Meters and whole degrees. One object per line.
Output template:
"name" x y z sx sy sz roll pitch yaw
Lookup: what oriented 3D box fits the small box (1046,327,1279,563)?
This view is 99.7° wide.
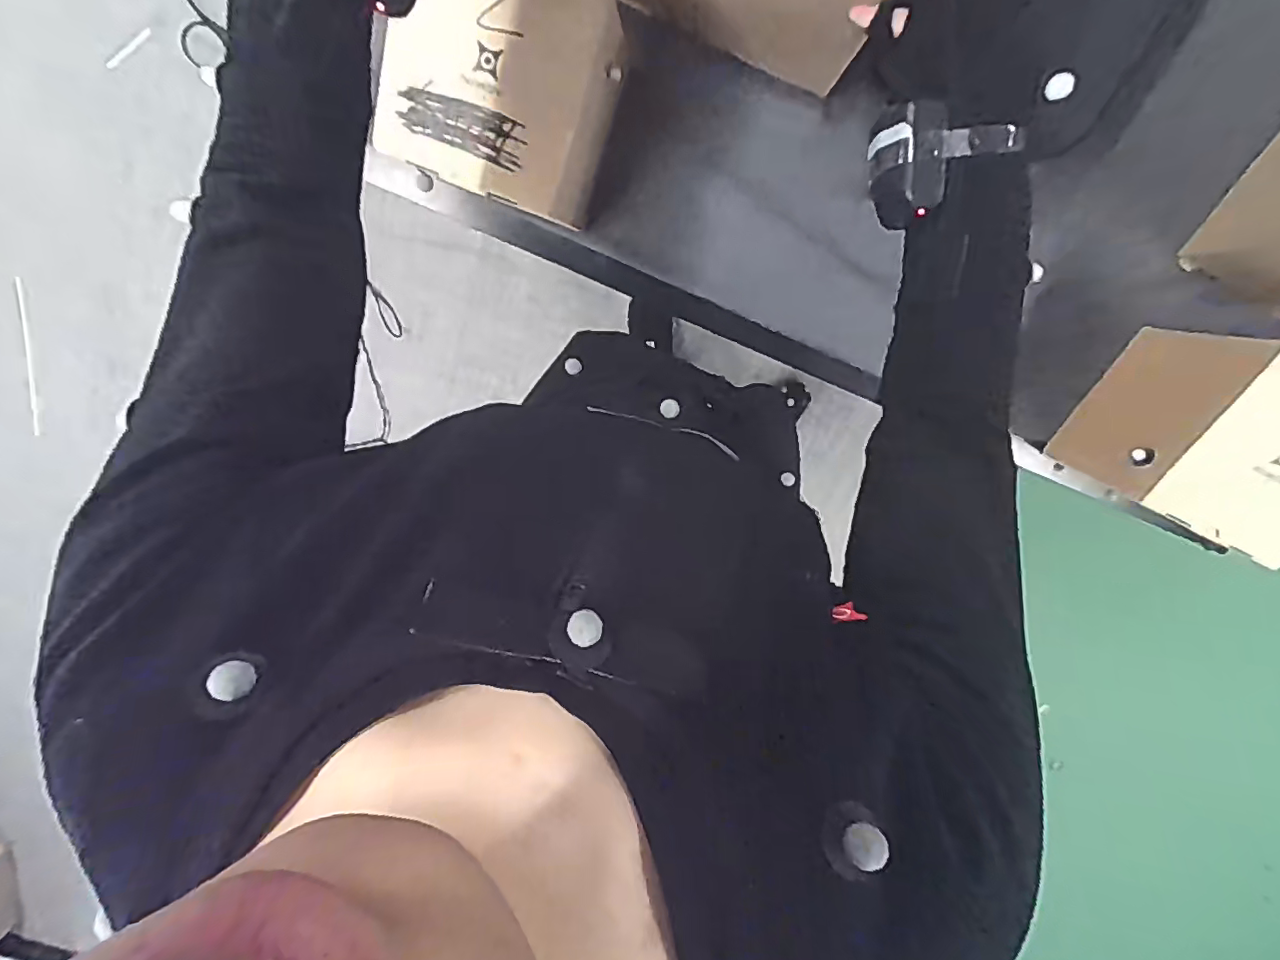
"small box" 0.605 -0.049 0.587 0.168 0.176 0.179 25 112 -5
